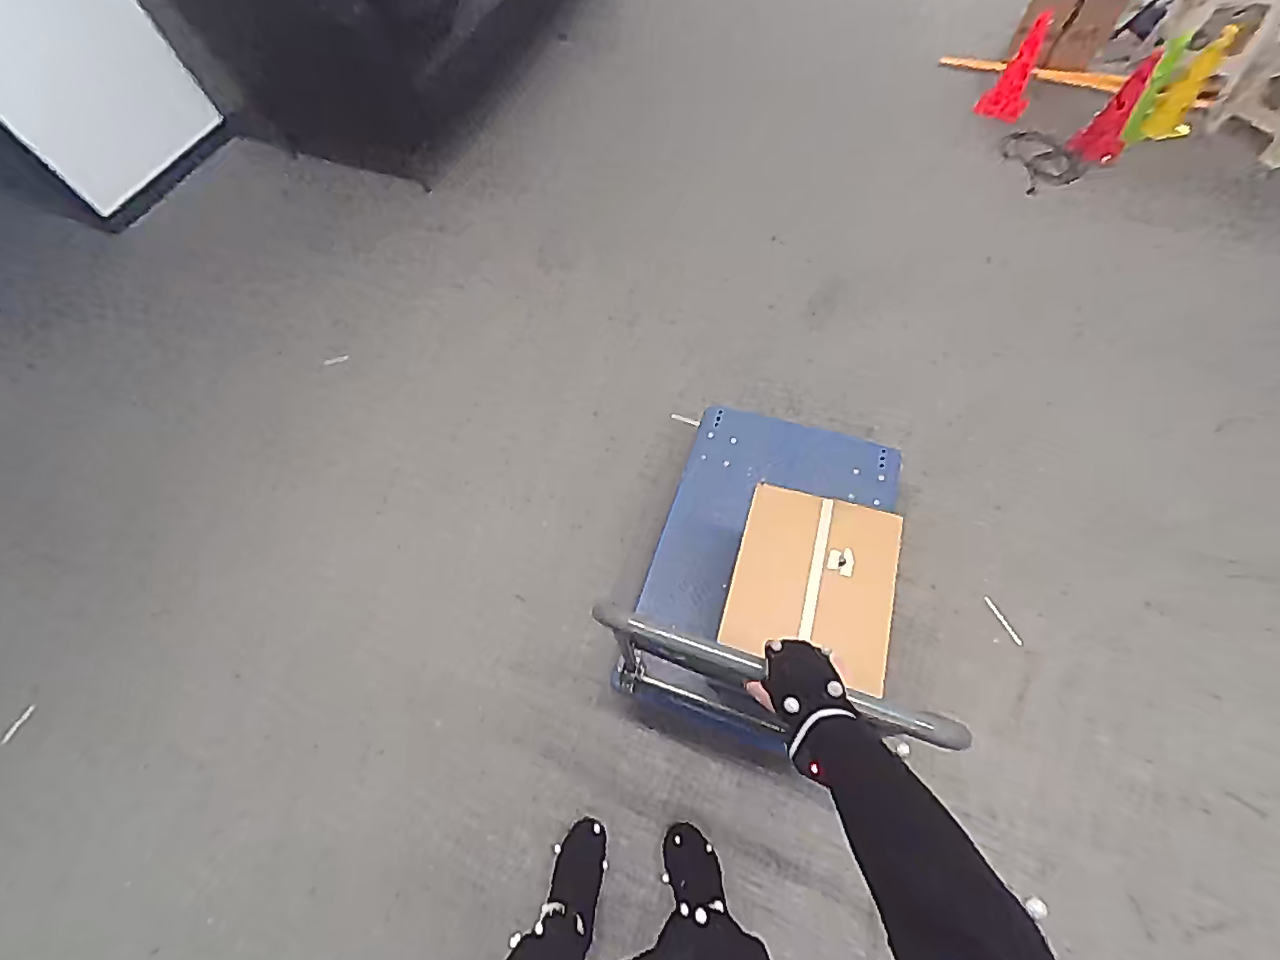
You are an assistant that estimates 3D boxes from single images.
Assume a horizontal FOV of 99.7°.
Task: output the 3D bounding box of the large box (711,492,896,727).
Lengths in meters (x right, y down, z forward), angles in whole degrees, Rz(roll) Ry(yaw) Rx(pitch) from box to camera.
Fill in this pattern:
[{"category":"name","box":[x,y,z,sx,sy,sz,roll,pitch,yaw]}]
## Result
[{"category":"large box","box":[0.356,0.298,1.224,0.320,0.320,0.408,14,64,11]}]
